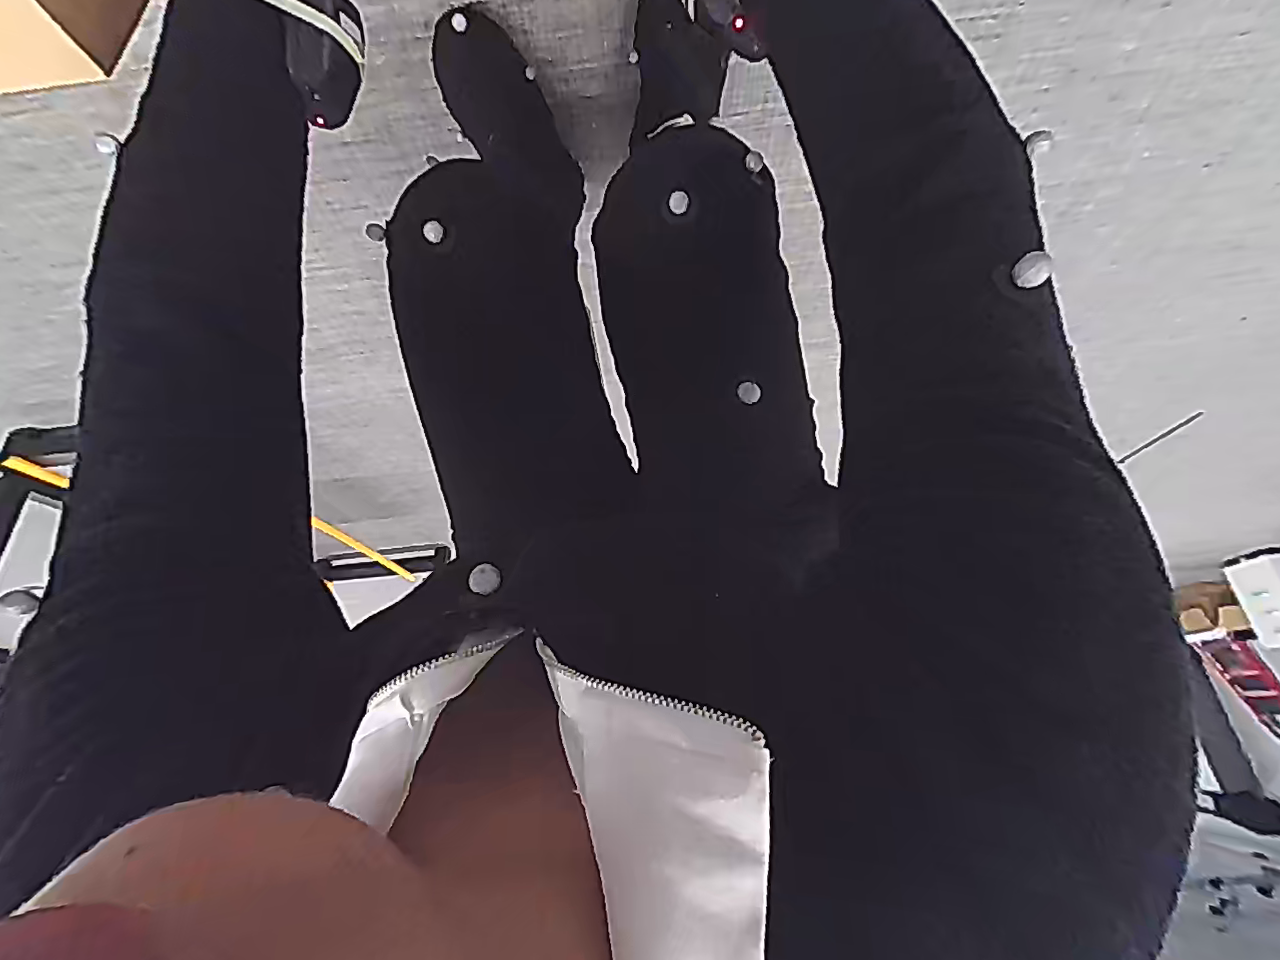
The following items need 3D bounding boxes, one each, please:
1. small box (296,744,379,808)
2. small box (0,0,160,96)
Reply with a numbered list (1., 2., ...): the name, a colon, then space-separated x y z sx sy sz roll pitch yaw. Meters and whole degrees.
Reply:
1. small box: -0.983 0.965 1.775 0.168 0.176 0.179 -5 155 1
2. small box: -0.424 -0.358 0.304 0.168 0.176 0.179 -5 158 3
